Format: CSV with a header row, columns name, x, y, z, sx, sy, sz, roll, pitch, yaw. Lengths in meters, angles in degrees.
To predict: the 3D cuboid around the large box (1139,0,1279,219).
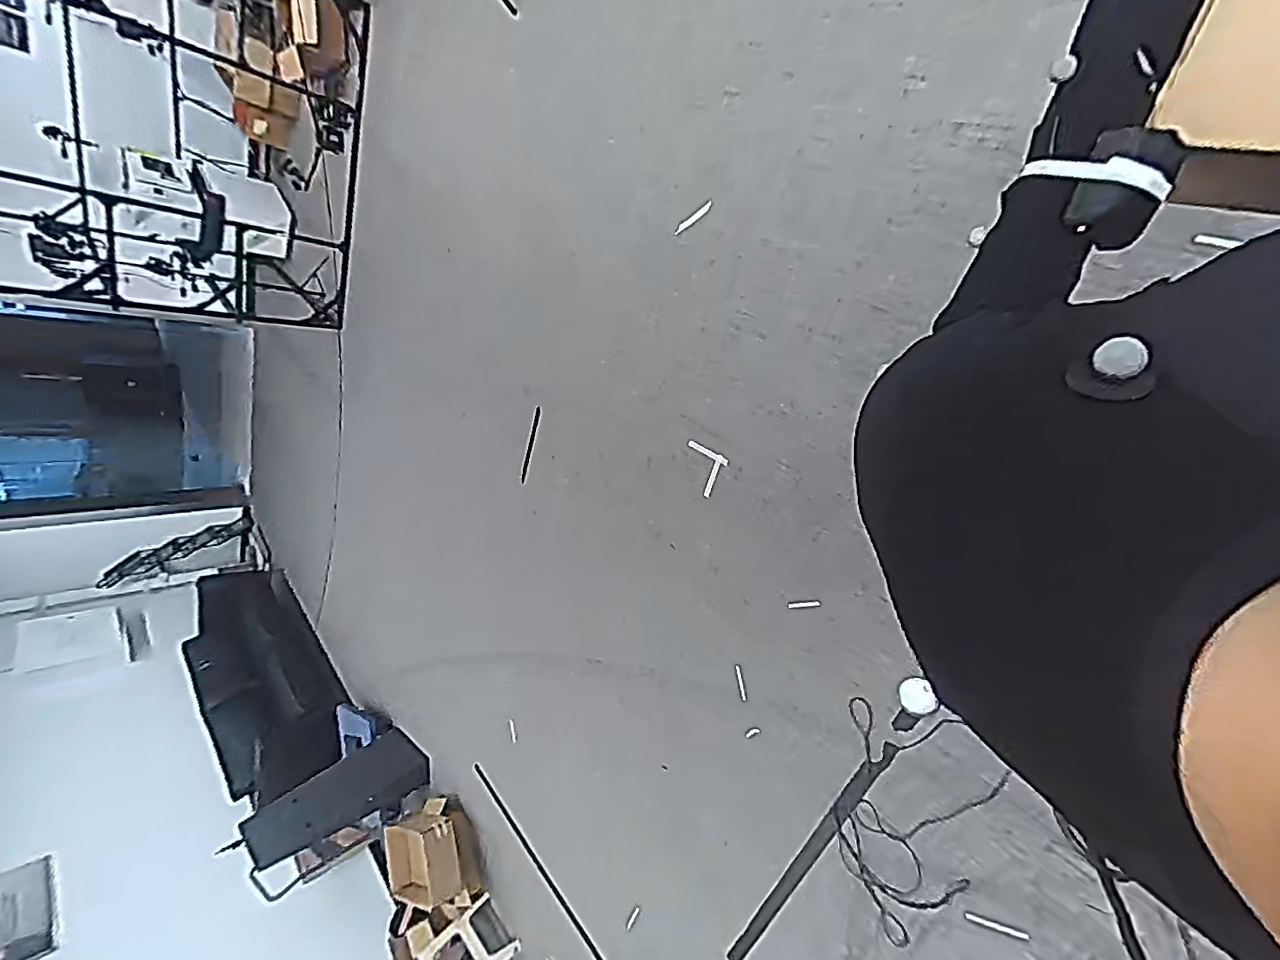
name,x,y,z,sx,sy,sz,roll,pitch,yaw
large box,0.619,-0.327,0.317,0.408,0.320,0.320,29,122,33
